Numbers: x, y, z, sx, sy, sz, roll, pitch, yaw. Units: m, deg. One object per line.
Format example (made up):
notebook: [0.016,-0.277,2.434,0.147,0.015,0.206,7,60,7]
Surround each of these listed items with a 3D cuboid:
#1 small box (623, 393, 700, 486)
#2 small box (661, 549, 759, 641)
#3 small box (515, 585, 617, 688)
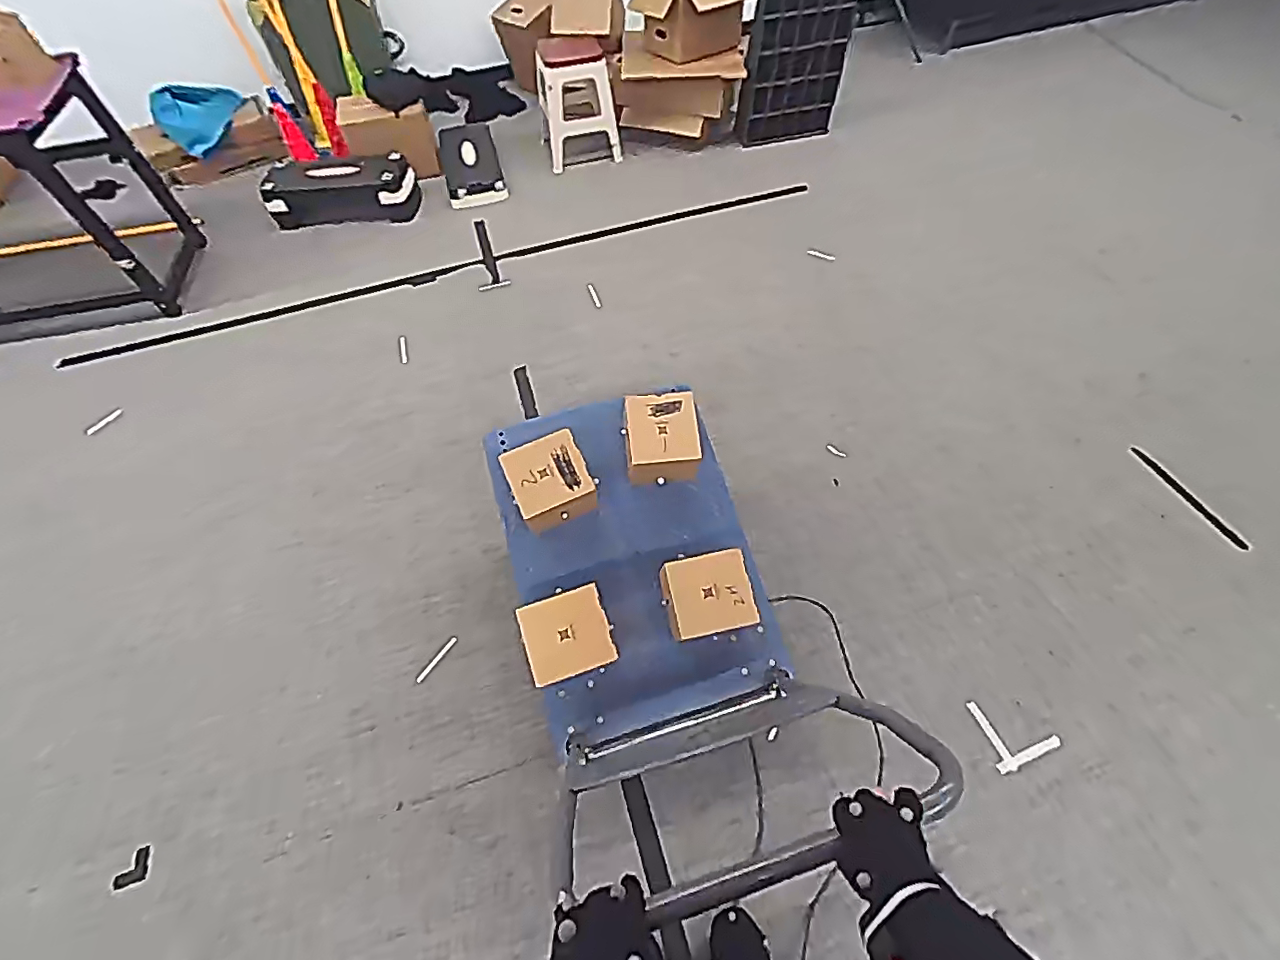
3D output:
small box: [0.046,-0.096,1.342,0.168,0.176,0.179,-5,73,-5]
small box: [0.148,0.267,1.228,0.179,0.176,0.168,-11,73,-6]
small box: [-0.157,0.346,1.188,0.179,0.176,0.168,-18,74,-10]
